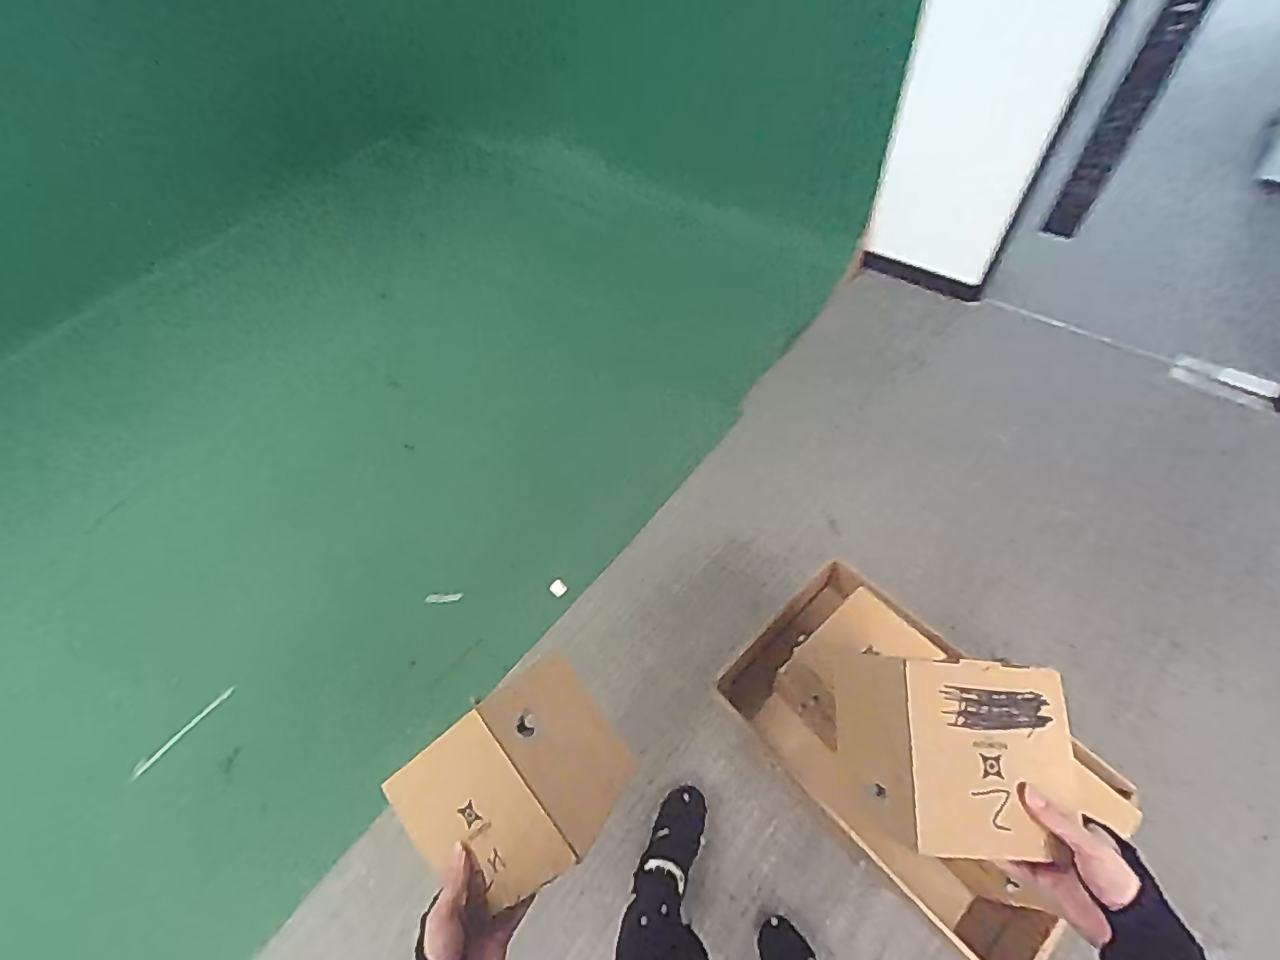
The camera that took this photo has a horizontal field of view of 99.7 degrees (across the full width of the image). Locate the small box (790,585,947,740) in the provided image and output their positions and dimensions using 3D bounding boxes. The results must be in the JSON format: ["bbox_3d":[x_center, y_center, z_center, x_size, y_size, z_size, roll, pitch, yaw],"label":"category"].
[{"bbox_3d":[0.379,0.319,0.936,0.179,0.176,0.168,-39,61,-15],"label":"small box"}]

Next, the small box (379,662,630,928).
[{"bbox_3d":[-0.143,0.333,0.614,0.168,0.176,0.179,-44,80,18],"label":"small box"}]

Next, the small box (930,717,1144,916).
[{"bbox_3d":[0.564,0.488,0.798,0.179,0.176,0.168,-38,62,-16],"label":"small box"}]

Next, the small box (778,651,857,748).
[{"bbox_3d":[0.395,0.404,1.075,0.168,0.176,0.179,-37,61,-14],"label":"small box"}]
